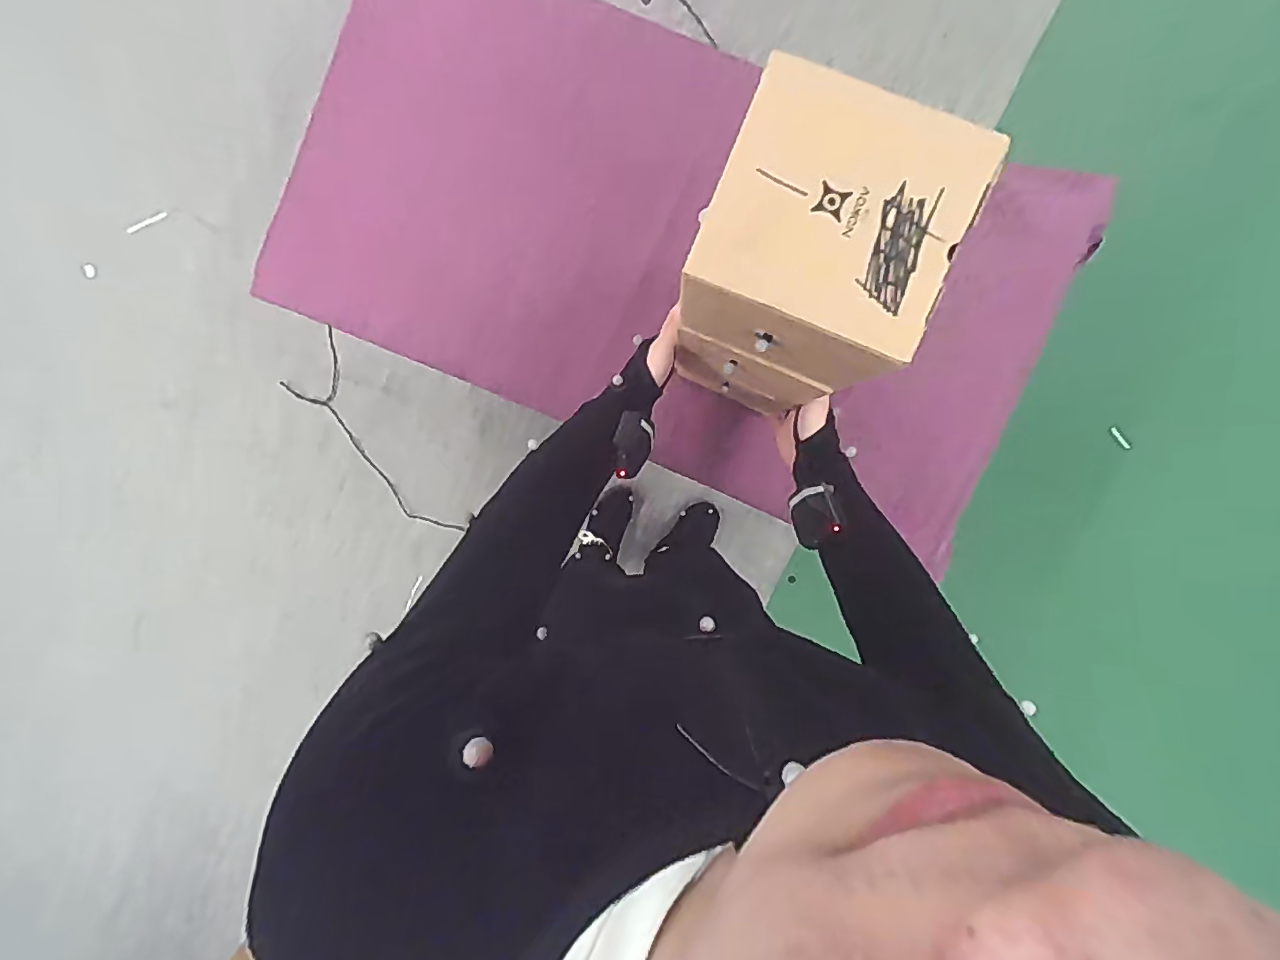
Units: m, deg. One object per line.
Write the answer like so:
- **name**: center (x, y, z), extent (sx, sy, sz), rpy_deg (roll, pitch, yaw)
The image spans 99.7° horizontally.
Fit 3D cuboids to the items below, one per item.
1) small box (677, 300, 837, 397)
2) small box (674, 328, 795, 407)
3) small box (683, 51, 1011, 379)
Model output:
- **small box**: center (0.154, -0.203, 0.618), extent (0.179, 0.176, 0.168), rpy_deg (24, 95, 2)
- **small box**: center (0.161, -0.213, 0.781), extent (0.179, 0.176, 0.168), rpy_deg (26, 95, 1)
- **small box**: center (0.147, -0.193, 0.454), extent (0.179, 0.176, 0.168), rpy_deg (23, 95, 2)
